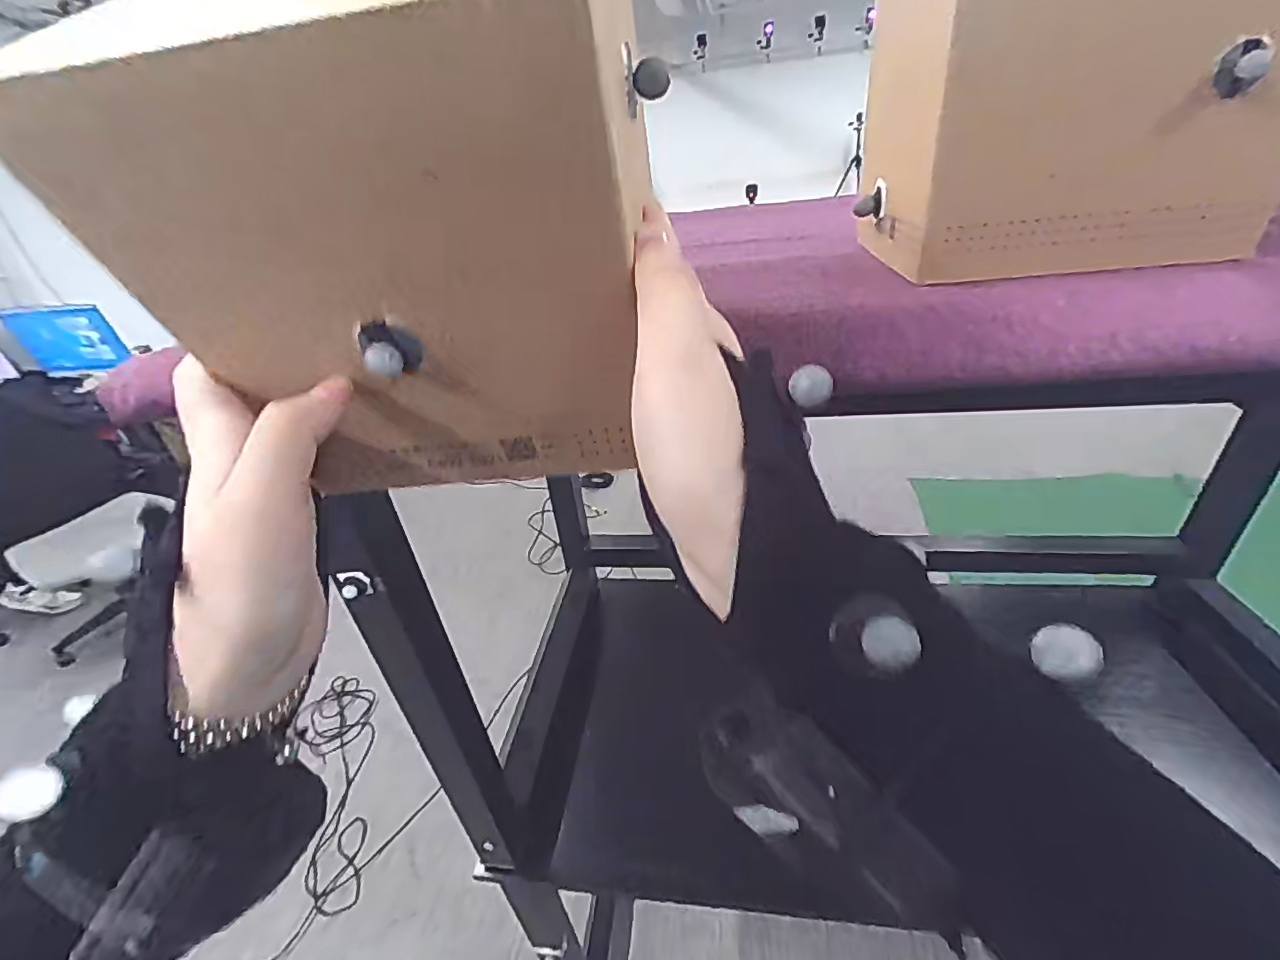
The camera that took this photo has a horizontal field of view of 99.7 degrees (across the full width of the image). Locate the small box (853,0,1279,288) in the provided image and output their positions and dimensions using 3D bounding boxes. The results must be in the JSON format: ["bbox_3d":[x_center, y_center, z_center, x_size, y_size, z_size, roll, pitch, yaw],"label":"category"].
[{"bbox_3d":[0.243,-0.227,0.330,0.179,0.176,0.168,-3,31,9],"label":"small box"}]

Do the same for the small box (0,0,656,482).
[{"bbox_3d":[-0.083,-0.111,0.235,0.168,0.176,0.179,-4,52,6],"label":"small box"}]
